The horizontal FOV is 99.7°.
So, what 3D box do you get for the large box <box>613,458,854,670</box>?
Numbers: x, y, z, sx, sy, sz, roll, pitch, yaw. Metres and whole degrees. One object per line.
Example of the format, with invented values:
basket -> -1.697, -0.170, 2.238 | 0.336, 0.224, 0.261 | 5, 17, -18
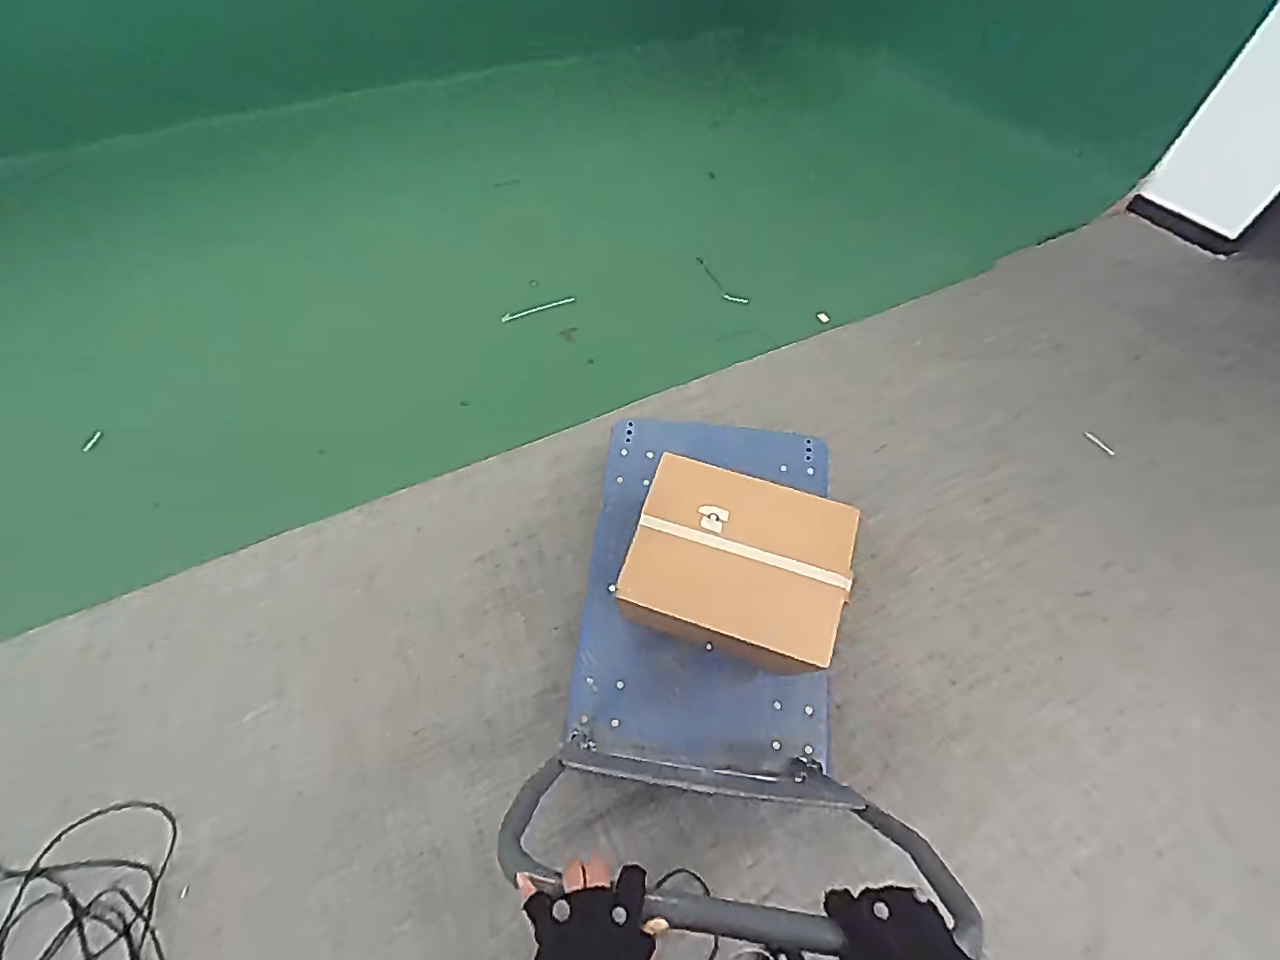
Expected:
large box -> 0.191, 0.194, 1.166 | 0.408, 0.320, 0.320 | 17, 70, 9
